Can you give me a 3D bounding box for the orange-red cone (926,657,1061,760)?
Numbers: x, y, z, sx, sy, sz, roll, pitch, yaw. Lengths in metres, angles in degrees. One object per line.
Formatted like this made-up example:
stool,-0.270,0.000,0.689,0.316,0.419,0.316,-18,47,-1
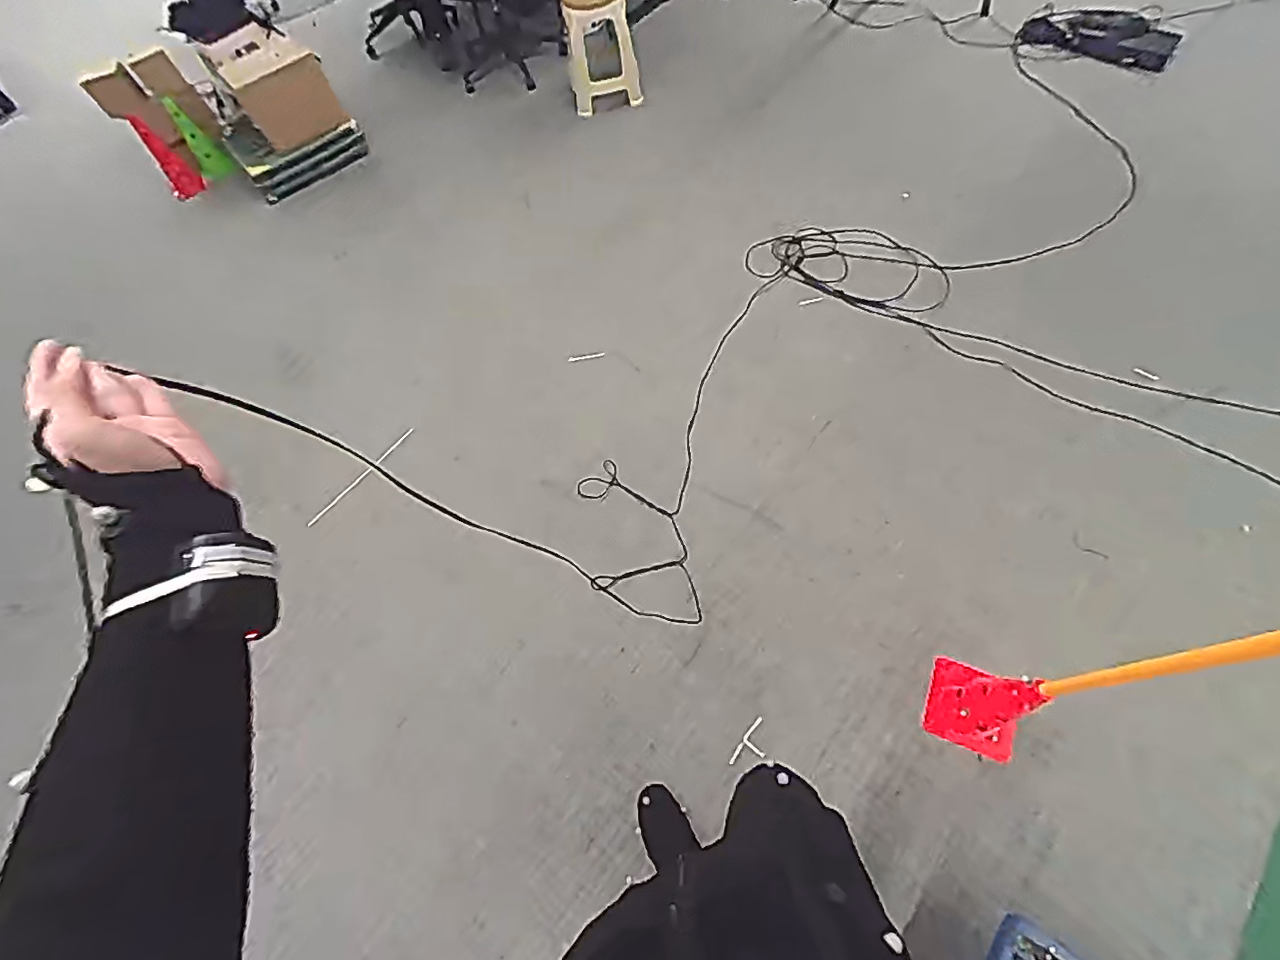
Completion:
orange-red cone,0.817,0.485,1.205,0.198,0.360,0.199,20,65,17
